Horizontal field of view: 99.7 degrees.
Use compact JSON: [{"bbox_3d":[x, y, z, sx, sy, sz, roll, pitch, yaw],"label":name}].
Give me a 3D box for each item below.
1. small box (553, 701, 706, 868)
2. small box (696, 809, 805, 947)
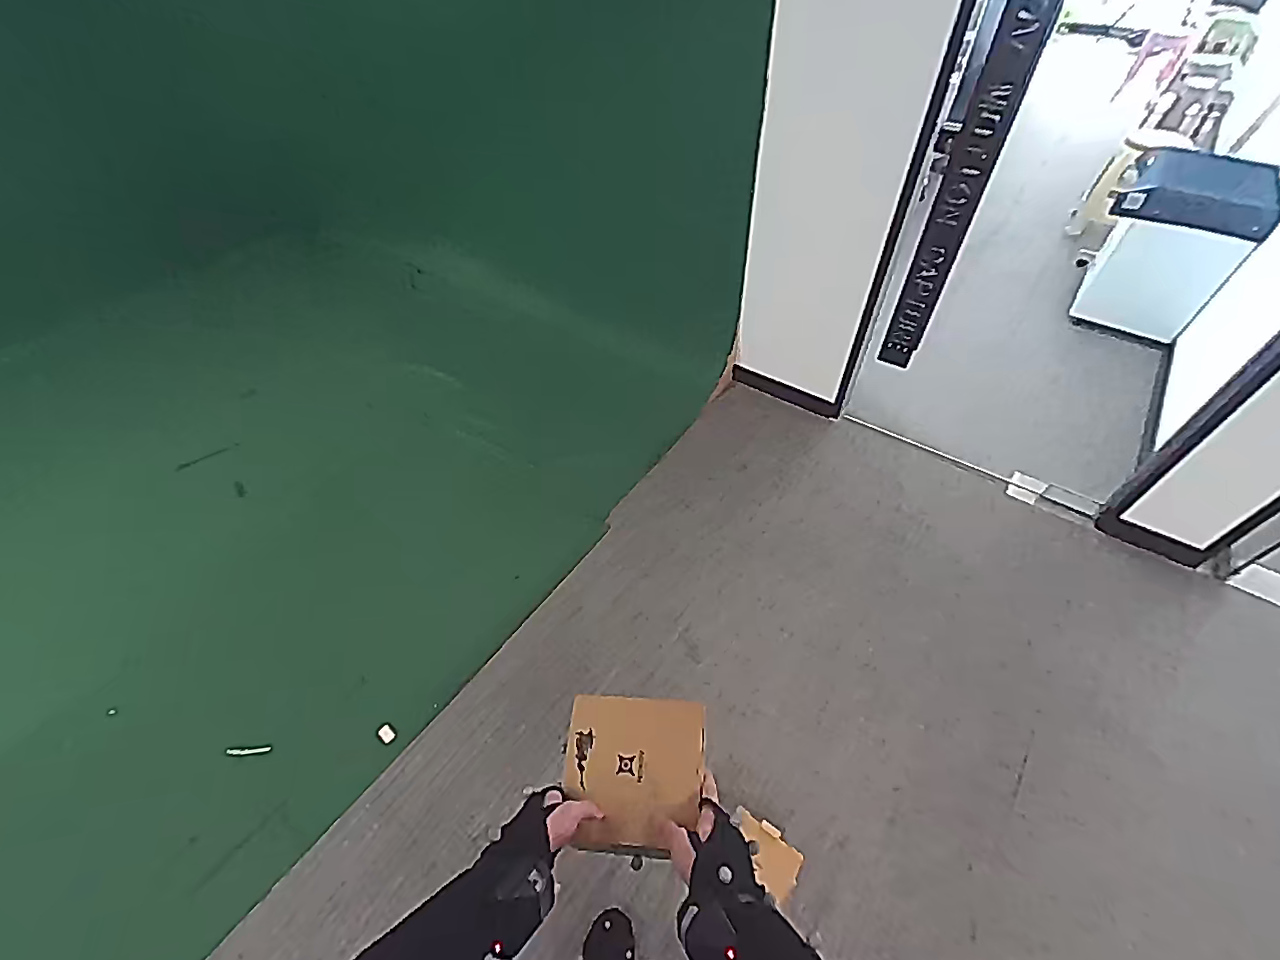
[{"bbox_3d":[-0.003,0.412,0.728,0.179,0.176,0.168,1,52,7],"label":"small box"},{"bbox_3d":[0.233,0.871,1.185,0.168,0.176,0.179,30,58,27],"label":"small box"}]
